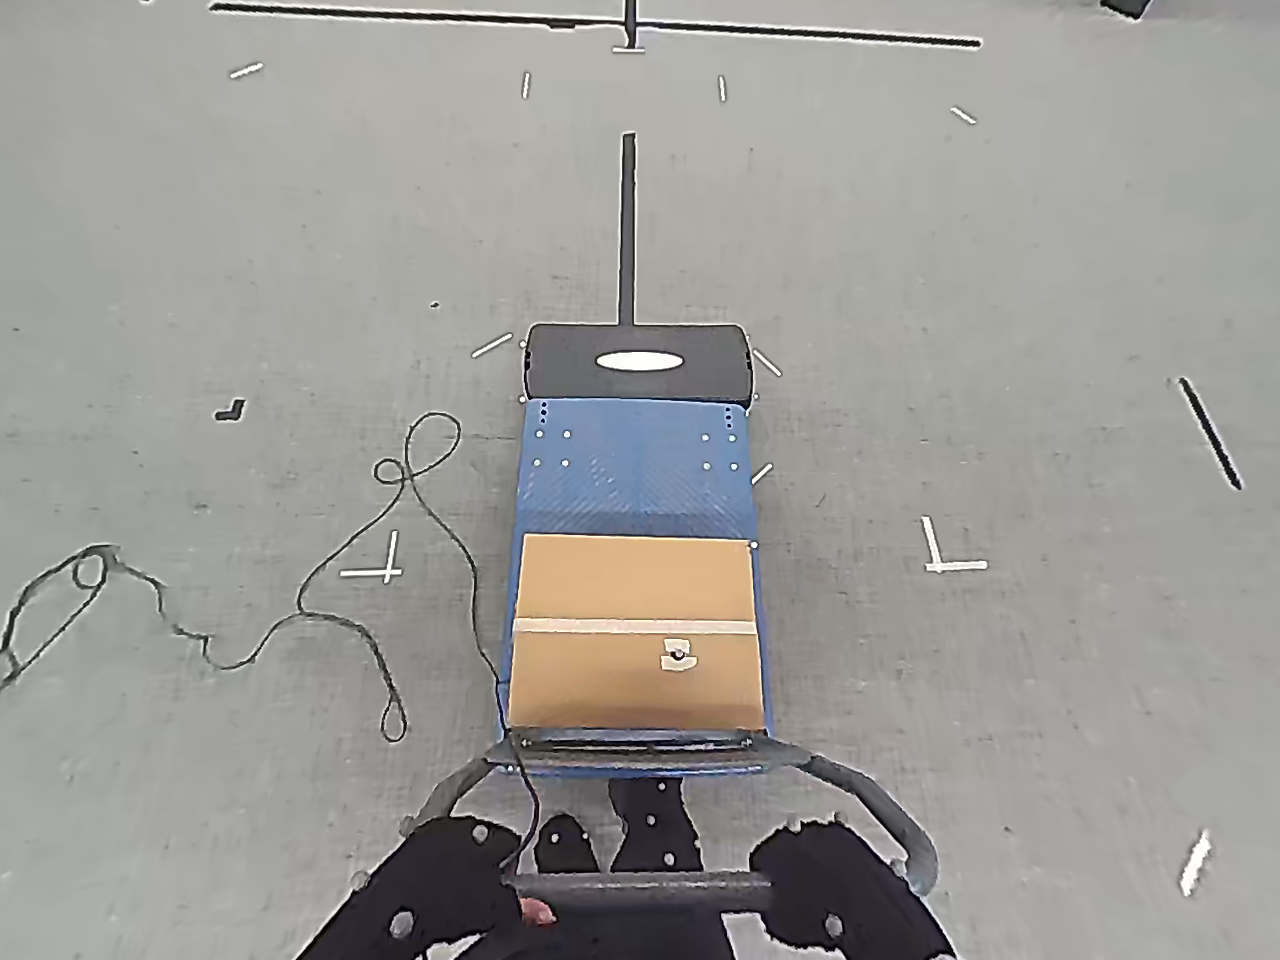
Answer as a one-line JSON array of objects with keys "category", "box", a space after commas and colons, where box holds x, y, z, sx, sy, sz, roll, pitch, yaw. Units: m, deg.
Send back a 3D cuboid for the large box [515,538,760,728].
[{"category": "large box", "box": [-0.015, 0.309, 1.059, 0.408, 0.320, 0.320, 2, 67, -4]}]
